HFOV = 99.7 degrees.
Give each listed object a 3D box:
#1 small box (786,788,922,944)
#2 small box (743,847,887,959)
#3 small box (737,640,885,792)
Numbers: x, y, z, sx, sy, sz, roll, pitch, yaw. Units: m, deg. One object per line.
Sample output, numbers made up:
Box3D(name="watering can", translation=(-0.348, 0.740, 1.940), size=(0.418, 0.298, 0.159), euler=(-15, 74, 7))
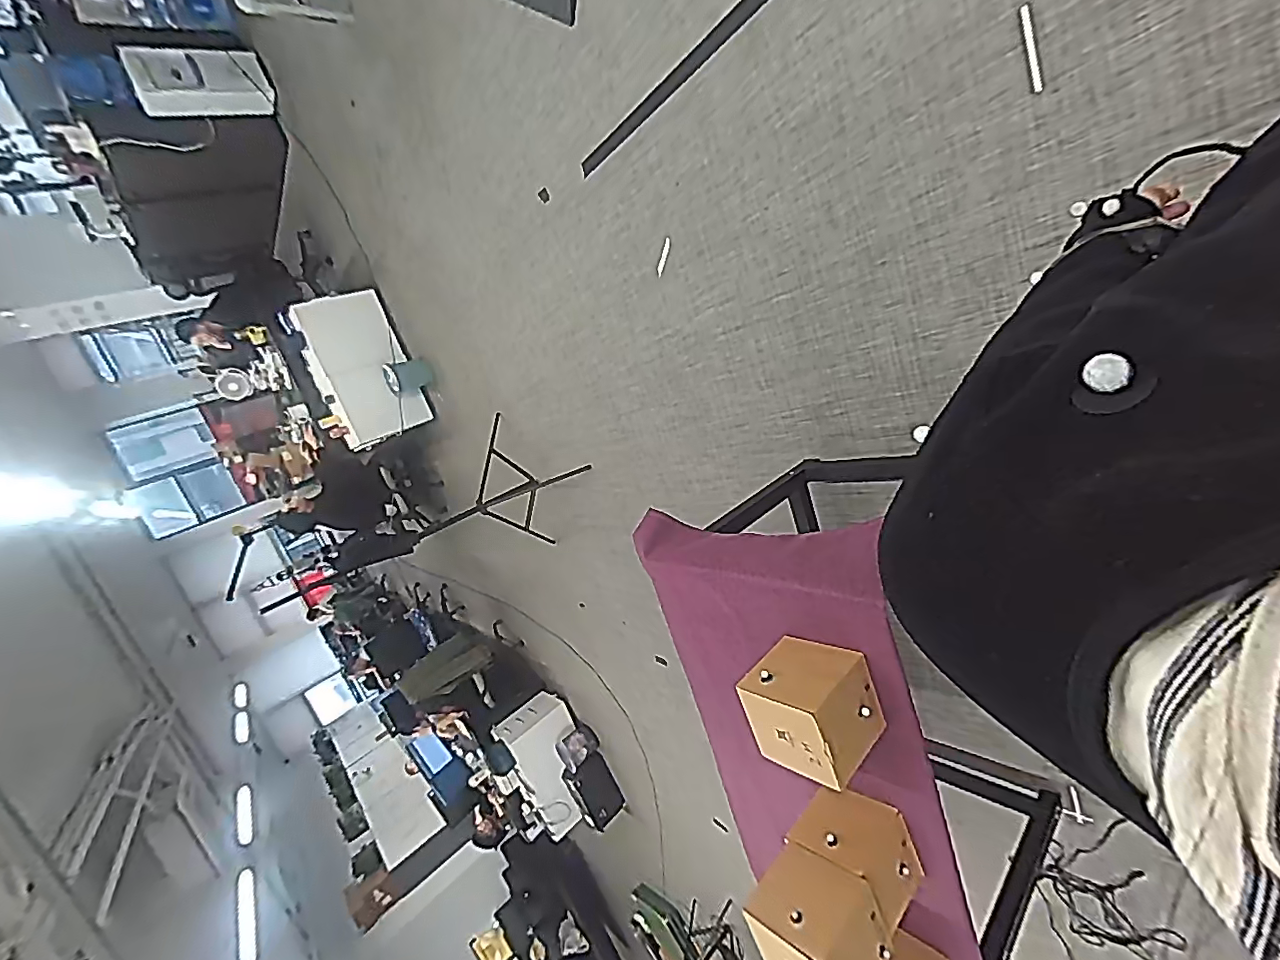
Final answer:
Box3D(name="small box", translation=(0.437, 0.767, 1.103), size=(0.179, 0.176, 0.168), euler=(-11, 106, 53))
Box3D(name="small box", translation=(0.329, 0.830, 0.996), size=(0.179, 0.176, 0.168), euler=(-9, 107, 53))
Box3D(name="small box", translation=(0.317, 0.420, 0.999), size=(0.179, 0.176, 0.168), euler=(-4, 112, 53))
